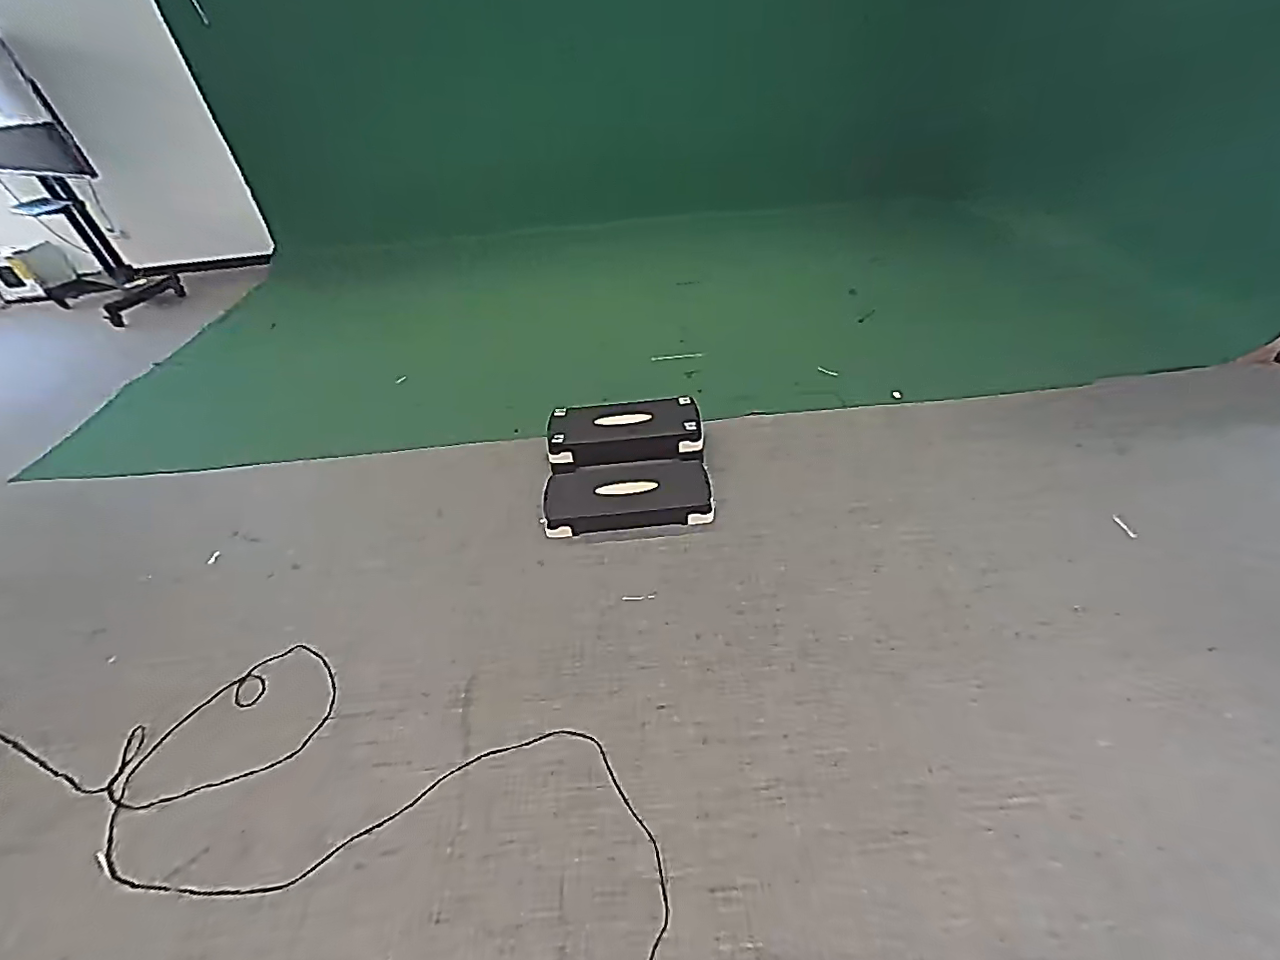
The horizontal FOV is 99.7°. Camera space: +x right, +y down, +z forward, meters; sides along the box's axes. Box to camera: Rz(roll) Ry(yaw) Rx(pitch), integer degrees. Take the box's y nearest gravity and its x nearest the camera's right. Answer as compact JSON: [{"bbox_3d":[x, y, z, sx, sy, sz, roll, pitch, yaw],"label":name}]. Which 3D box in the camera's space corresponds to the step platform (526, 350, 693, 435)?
[{"bbox_3d":[-0.119,-0.371,2.283,0.684,0.204,0.286,-6,42,1],"label":"step platform"}]
